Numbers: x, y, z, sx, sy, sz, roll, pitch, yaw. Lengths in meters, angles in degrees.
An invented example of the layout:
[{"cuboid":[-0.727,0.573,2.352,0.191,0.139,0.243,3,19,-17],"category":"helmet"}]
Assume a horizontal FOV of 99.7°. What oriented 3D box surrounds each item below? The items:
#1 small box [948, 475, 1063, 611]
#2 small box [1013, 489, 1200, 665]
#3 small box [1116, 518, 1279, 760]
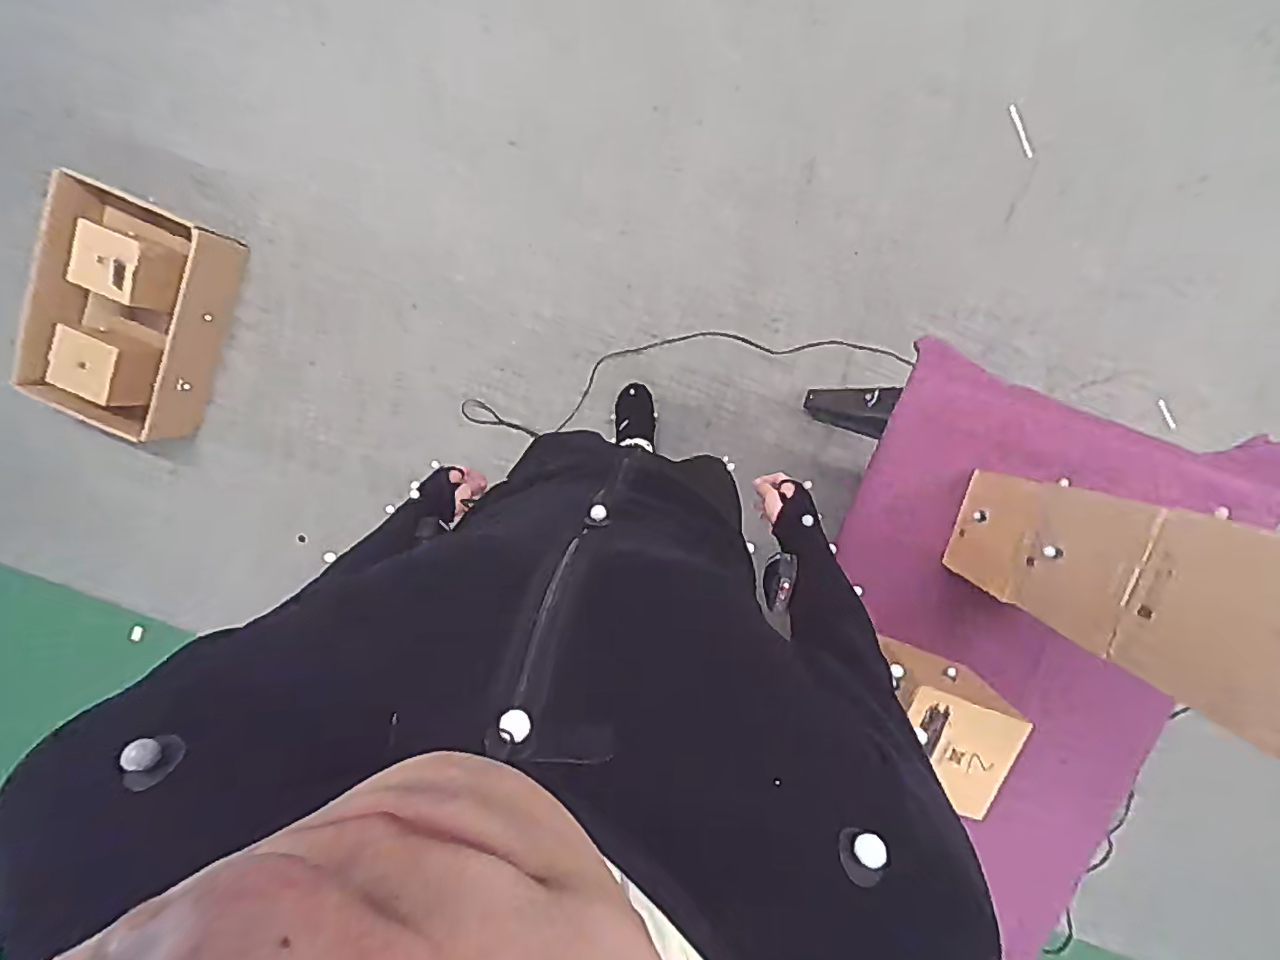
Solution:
[{"cuboid":[0.594,0.097,0.785,0.179,0.176,0.168,14,99,1],"category":"small box"},{"cuboid":[0.587,0.115,0.622,0.179,0.176,0.168,13,99,1],"category":"small box"},{"cuboid":[0.581,0.142,0.459,0.179,0.176,0.168,15,99,0],"category":"small box"}]
